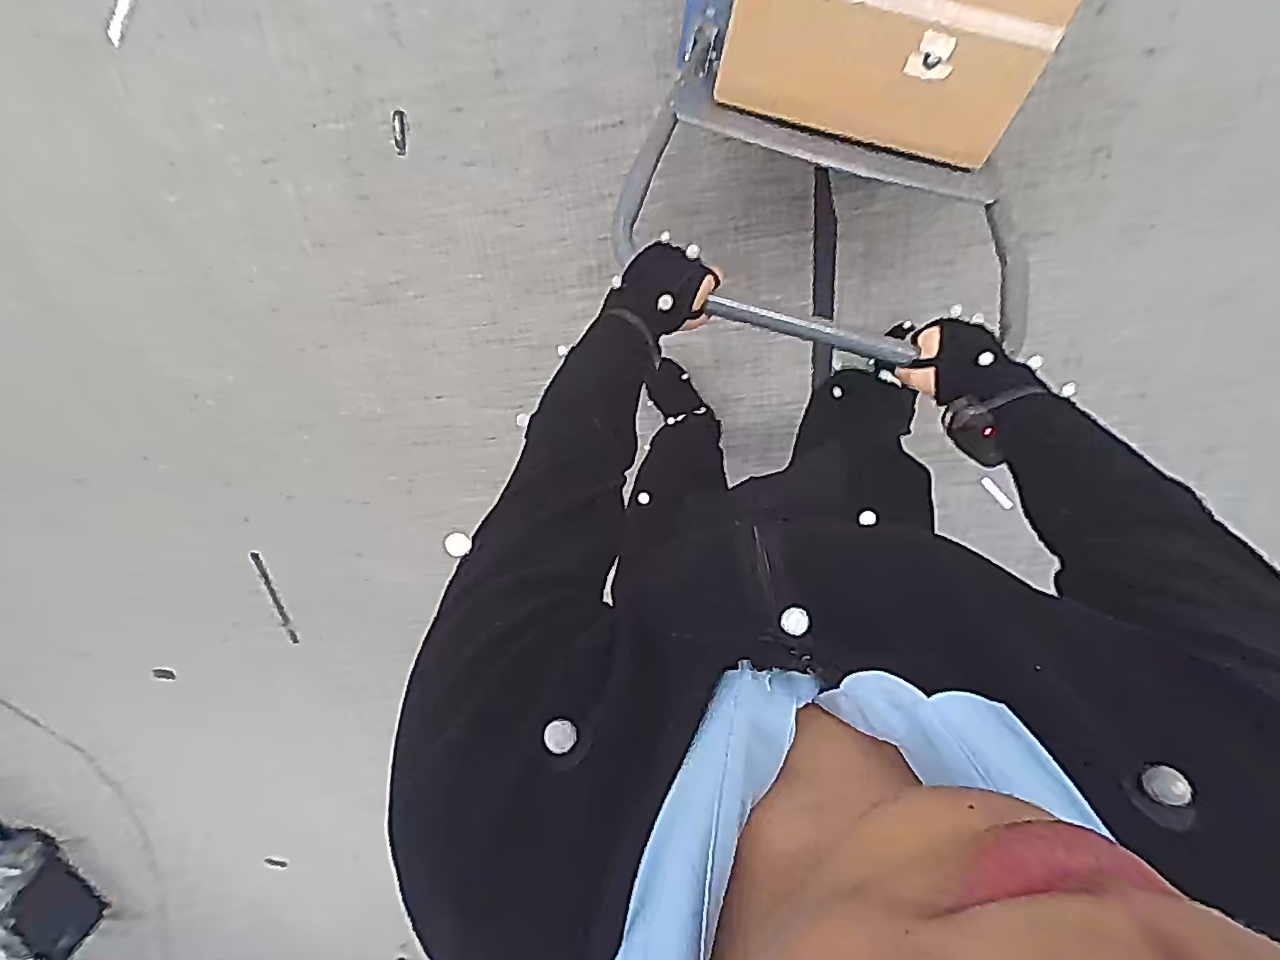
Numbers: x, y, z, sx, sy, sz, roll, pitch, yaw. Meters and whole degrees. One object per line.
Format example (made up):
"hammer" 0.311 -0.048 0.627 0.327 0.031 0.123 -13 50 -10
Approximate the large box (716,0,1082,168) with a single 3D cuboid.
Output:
"large box" 0.350 -0.701 0.758 0.408 0.320 0.320 15 142 1
